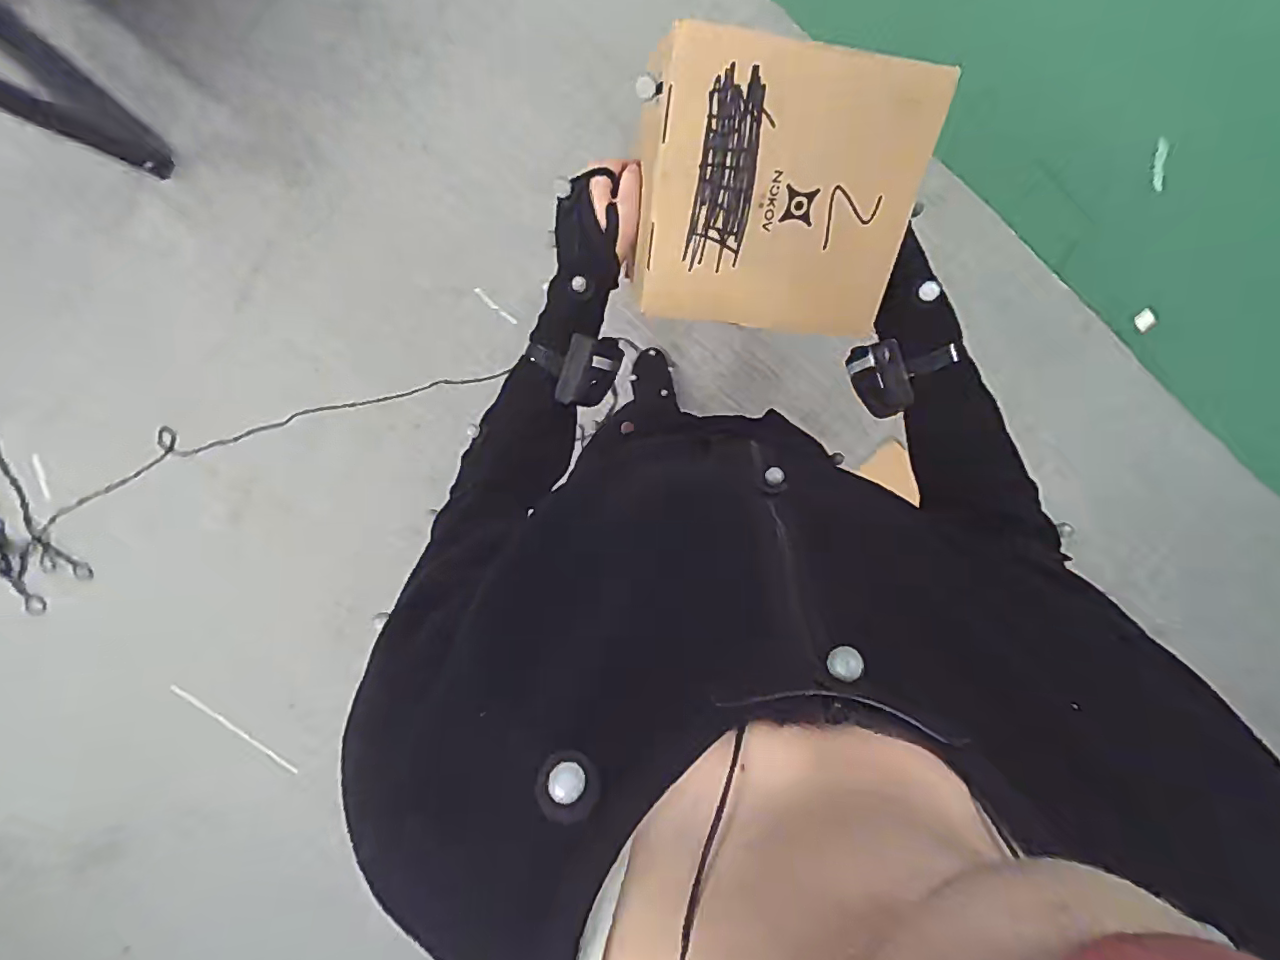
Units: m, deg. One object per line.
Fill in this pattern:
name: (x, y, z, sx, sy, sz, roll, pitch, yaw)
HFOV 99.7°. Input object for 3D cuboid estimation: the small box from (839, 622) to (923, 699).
small box: (0.676, 0.524, 1.476, 0.168, 0.176, 0.179, -30, 98, 6)

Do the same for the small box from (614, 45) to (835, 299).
small box: (0.067, -0.308, 0.561, 0.168, 0.176, 0.179, 8, 119, -10)
